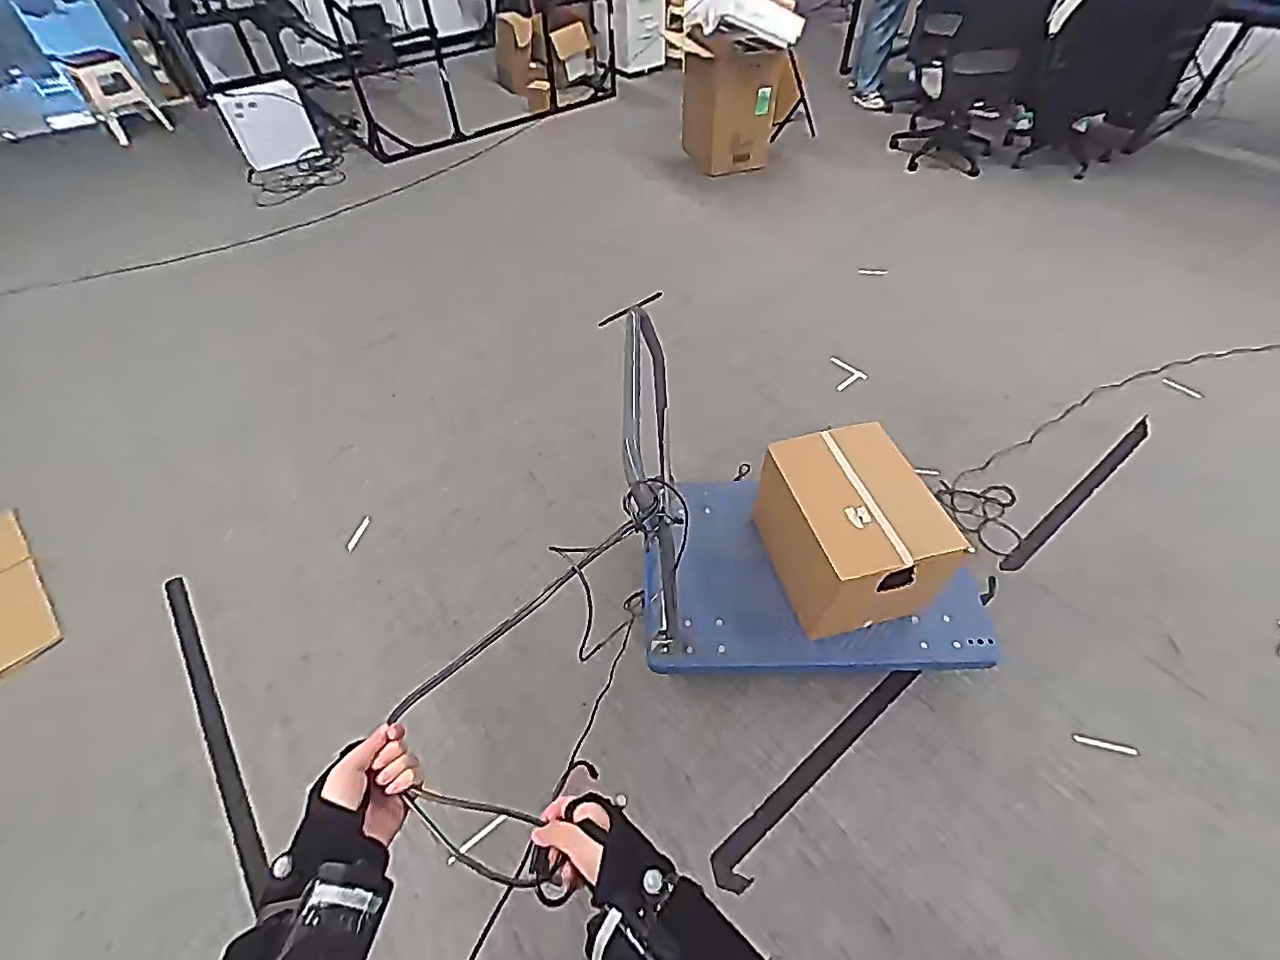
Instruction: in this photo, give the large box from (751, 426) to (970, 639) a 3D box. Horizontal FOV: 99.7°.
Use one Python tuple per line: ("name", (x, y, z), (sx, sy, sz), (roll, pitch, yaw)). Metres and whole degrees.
("large box", (0.516, 0.129, 1.373), (0.320, 0.320, 0.408), (-12, 52, -7))
